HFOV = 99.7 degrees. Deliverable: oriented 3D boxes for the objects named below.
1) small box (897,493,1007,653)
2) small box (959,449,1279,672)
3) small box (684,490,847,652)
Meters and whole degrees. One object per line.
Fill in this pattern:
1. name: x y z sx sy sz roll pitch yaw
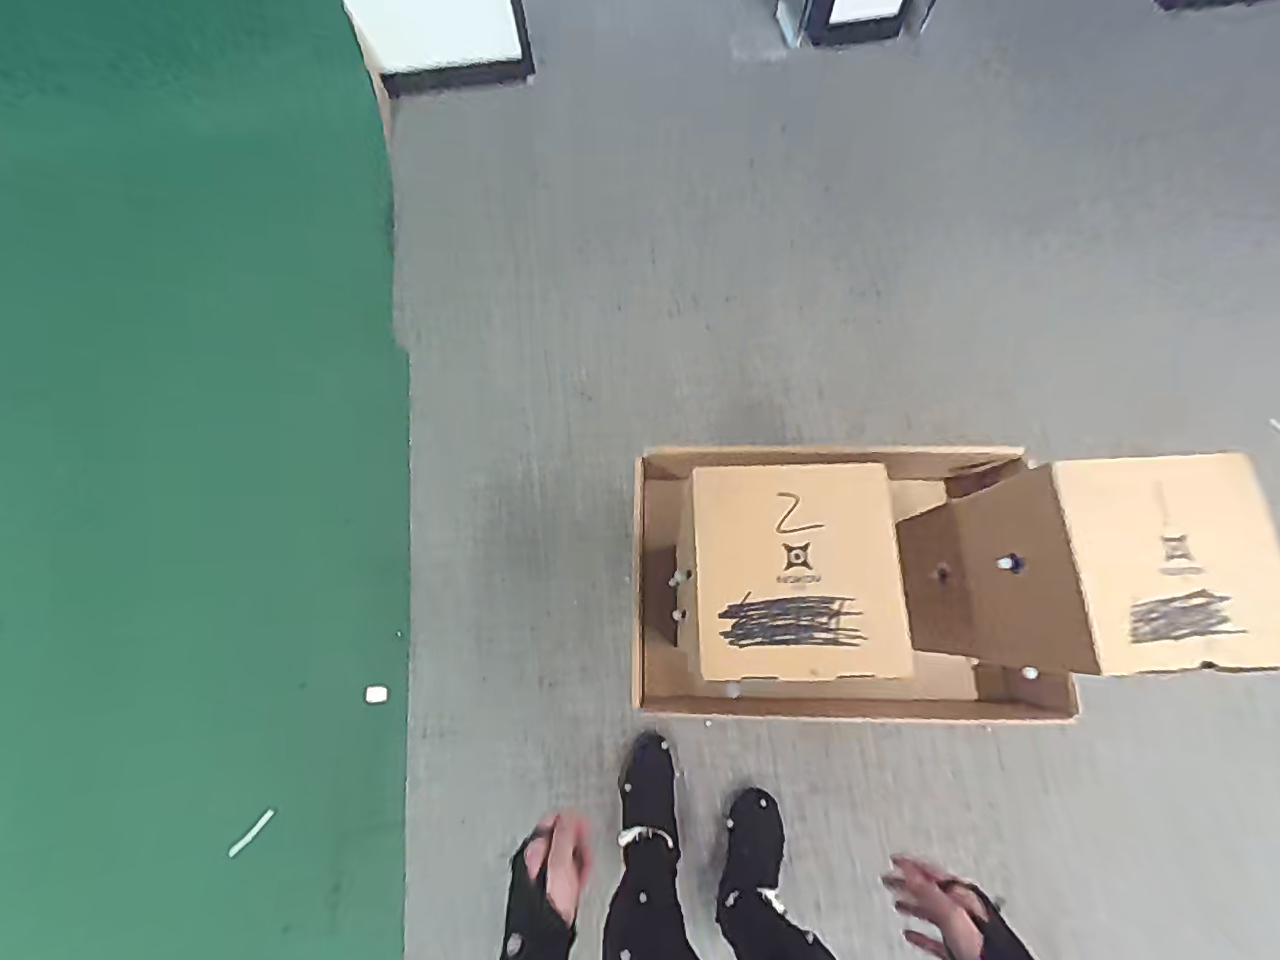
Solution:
1. small box: 0.441 0.119 0.669 0.168 0.176 0.179 -2 76 1
2. small box: 0.437 0.080 0.510 0.168 0.176 0.179 -2 74 1
3. small box: 0.142 0.118 0.674 0.168 0.176 0.179 1 75 1
